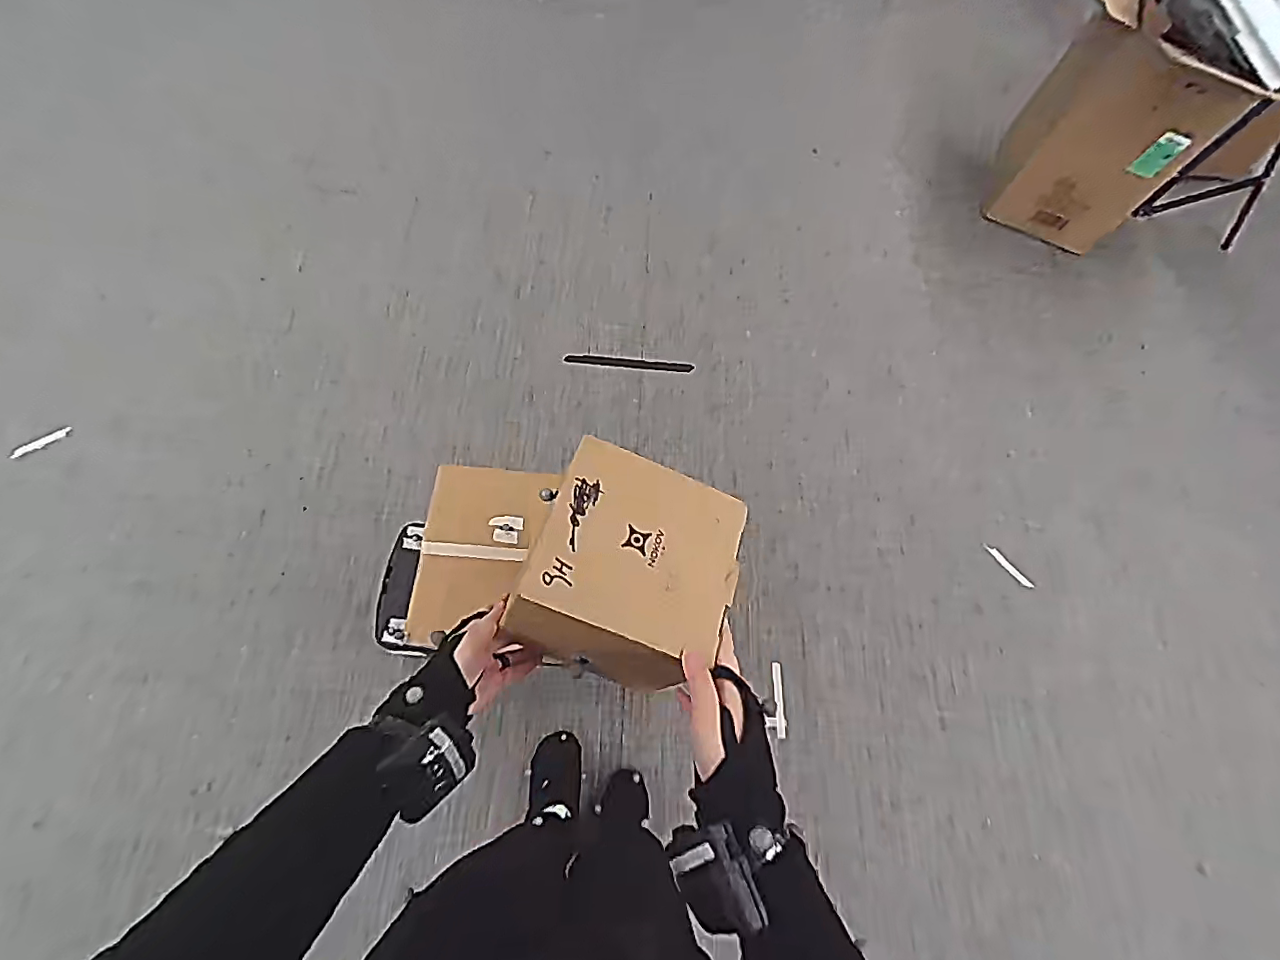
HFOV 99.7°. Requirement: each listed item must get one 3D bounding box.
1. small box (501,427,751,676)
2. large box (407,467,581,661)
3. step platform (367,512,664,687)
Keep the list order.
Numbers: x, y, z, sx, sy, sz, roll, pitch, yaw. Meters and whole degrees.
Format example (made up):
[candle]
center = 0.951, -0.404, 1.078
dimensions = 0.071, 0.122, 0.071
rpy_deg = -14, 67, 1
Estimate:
[small box]
center = -0.019, 0.083, 0.537
dimensions = 0.179, 0.176, 0.168
rpy_deg = 24, 57, -8
[large box]
center = -0.174, 0.185, 1.053
dimensions = 0.408, 0.320, 0.320
rpy_deg = 5, 68, -3
[step platform]
center = -0.252, 0.282, 1.264
dimensions = 0.684, 0.204, 0.286
rpy_deg = 11, 68, -1
